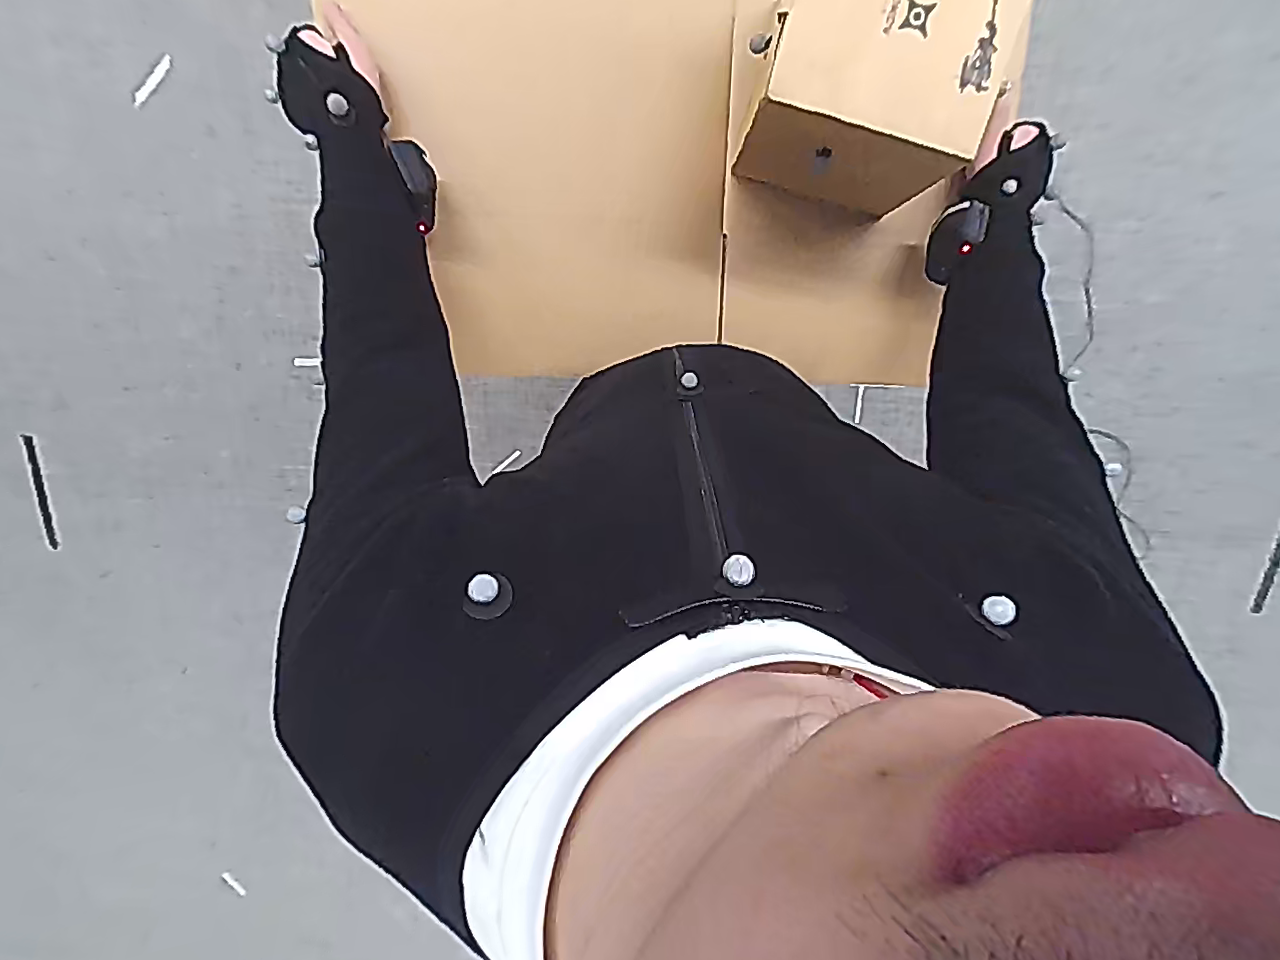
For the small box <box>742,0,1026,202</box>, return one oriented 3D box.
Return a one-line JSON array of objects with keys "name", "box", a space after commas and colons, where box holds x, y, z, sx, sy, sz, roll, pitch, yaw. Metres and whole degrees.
[{"name": "small box", "box": [0.203, -0.375, 0.487, 0.179, 0.176, 0.168, 15, 103, -1]}]
